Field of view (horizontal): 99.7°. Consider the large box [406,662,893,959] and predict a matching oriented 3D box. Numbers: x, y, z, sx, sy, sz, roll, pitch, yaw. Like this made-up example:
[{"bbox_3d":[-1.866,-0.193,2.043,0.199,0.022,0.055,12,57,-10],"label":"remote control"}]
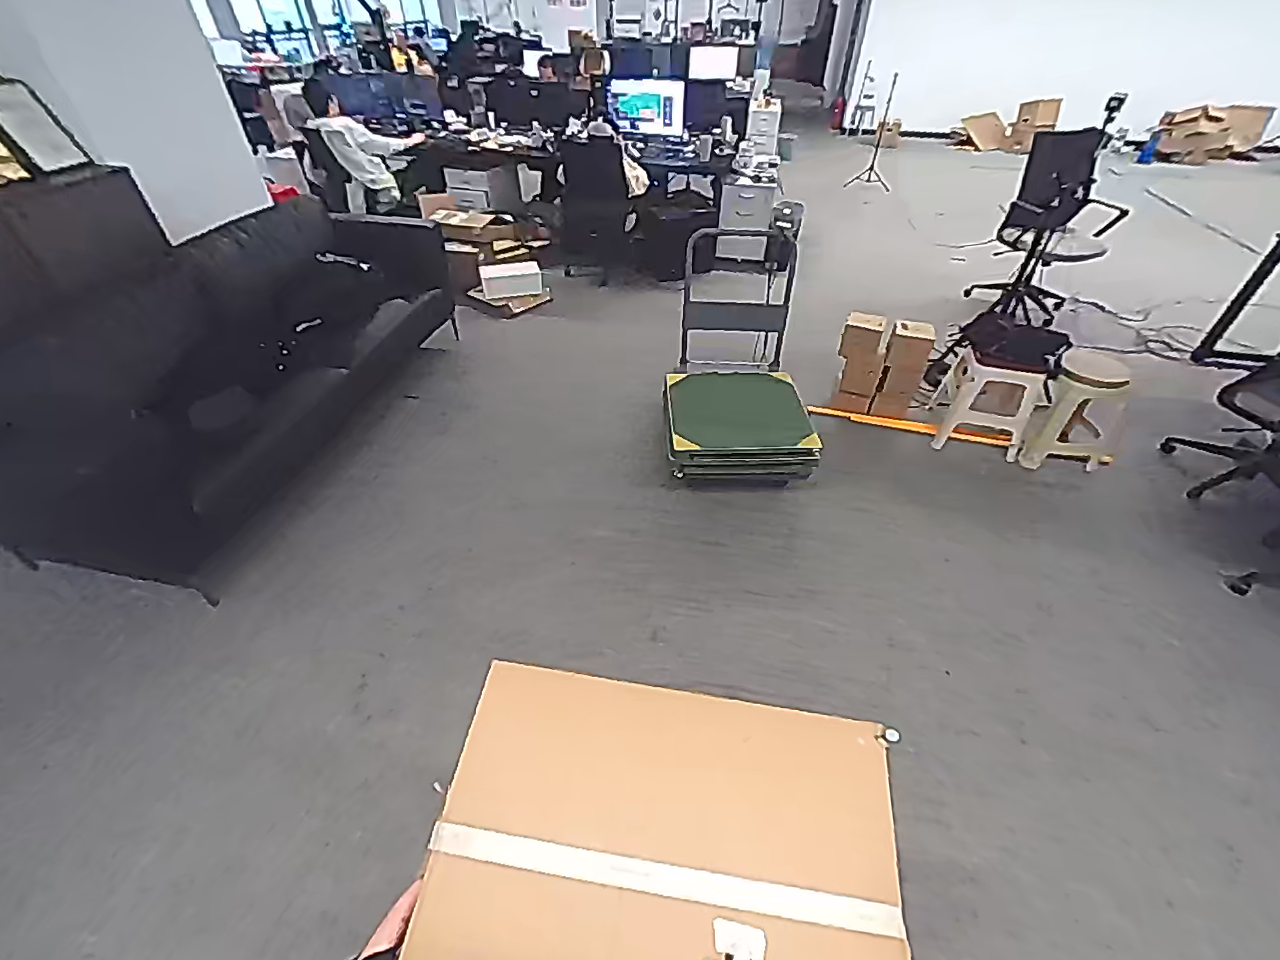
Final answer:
[{"bbox_3d":[0.012,0.427,0.599,0.408,0.320,0.320,8,55,3],"label":"large box"}]
